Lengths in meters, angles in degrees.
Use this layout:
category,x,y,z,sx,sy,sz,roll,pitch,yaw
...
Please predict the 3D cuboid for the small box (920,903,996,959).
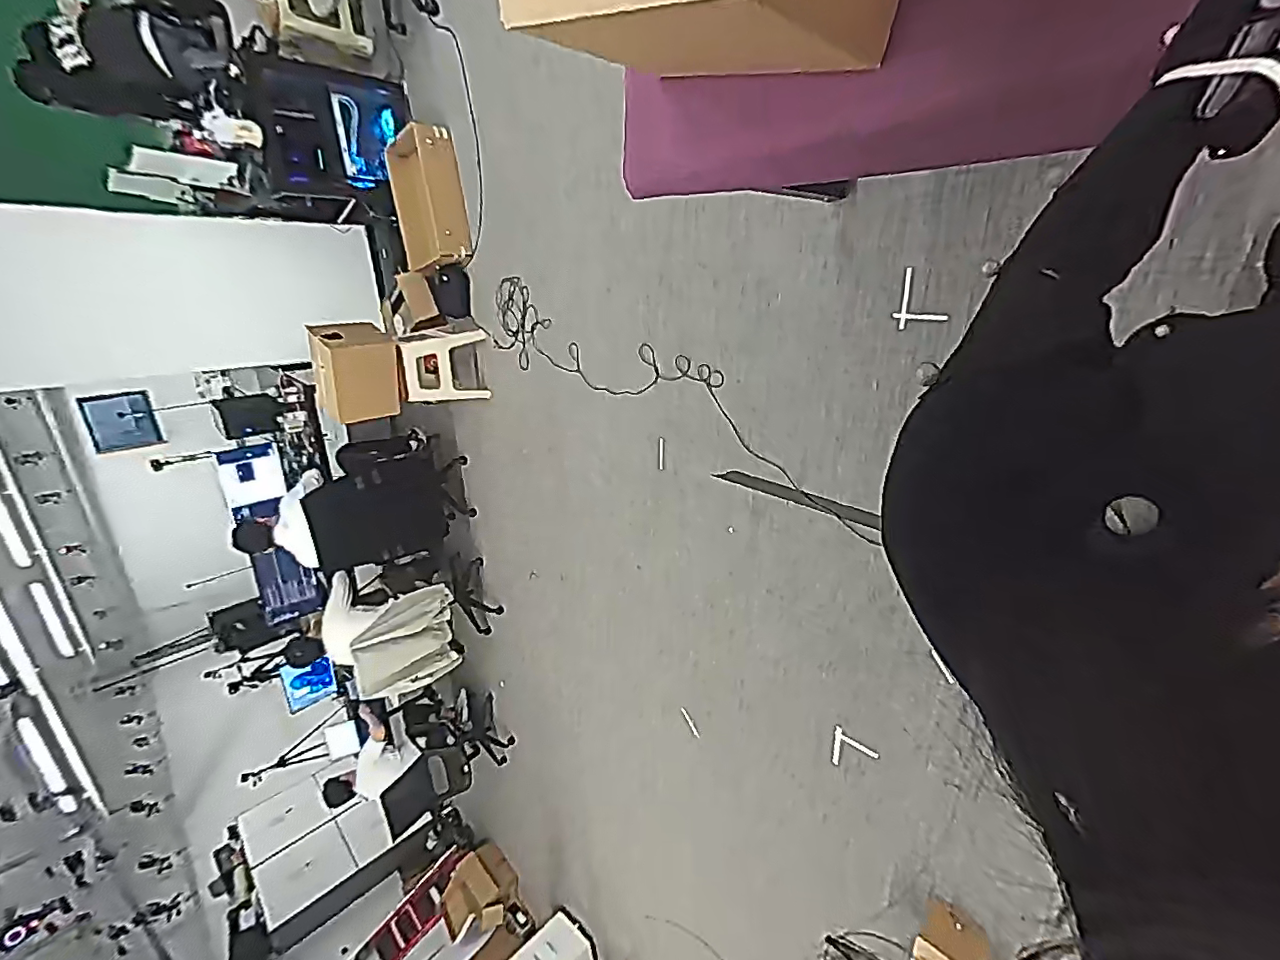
category,x,y,z,sx,sy,sz,roll,pitch,yaw
small box,1.026,1.542,1.749,0.168,0.176,0.179,18,117,43
